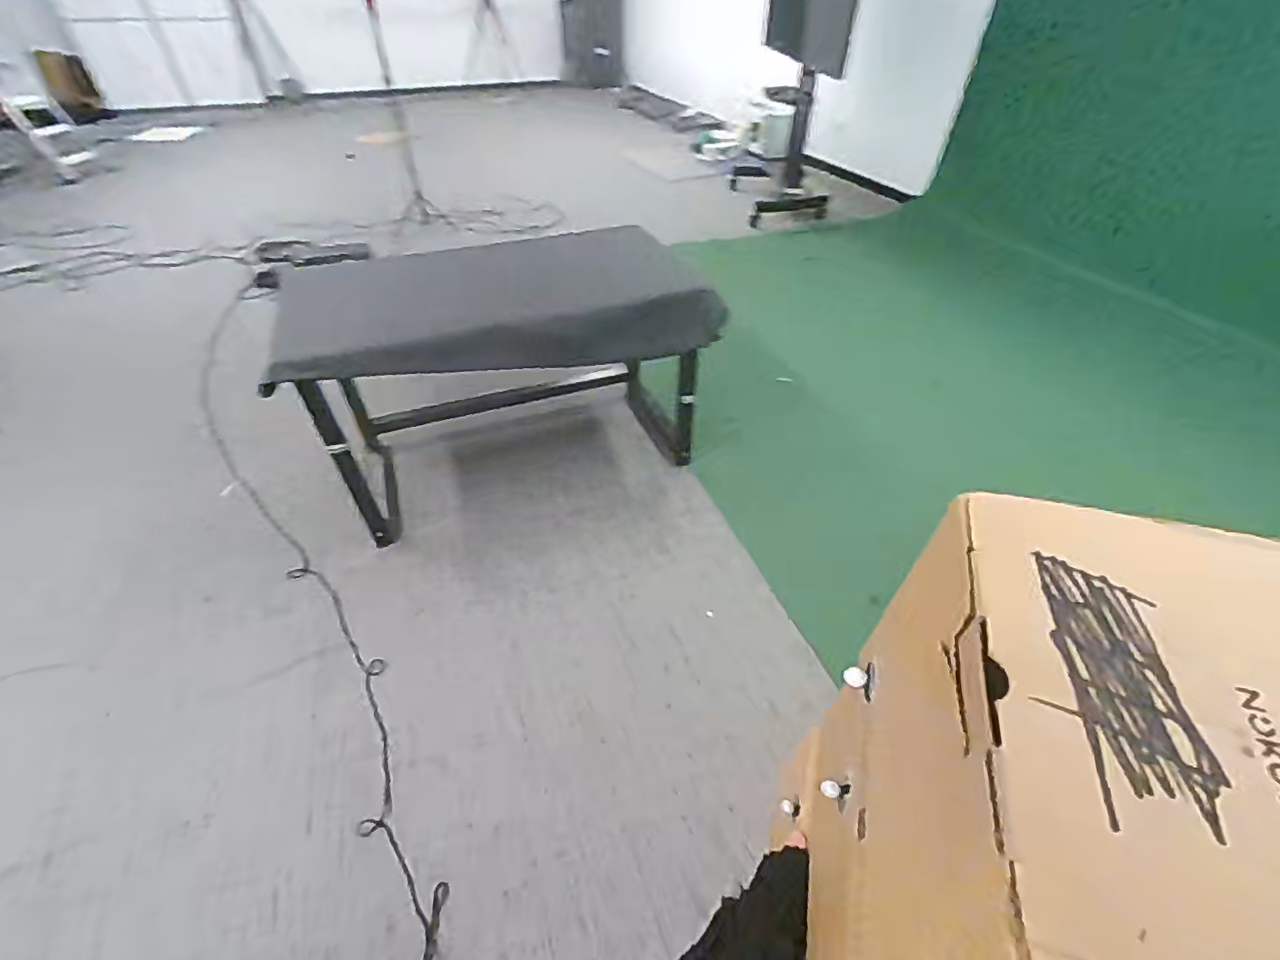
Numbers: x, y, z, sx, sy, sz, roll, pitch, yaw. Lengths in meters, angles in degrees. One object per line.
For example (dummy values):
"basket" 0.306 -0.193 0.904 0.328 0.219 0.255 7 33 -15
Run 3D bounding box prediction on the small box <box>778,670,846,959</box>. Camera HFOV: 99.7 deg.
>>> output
"small box" 0.192 0.238 0.348 0.168 0.176 0.179 13 52 15
